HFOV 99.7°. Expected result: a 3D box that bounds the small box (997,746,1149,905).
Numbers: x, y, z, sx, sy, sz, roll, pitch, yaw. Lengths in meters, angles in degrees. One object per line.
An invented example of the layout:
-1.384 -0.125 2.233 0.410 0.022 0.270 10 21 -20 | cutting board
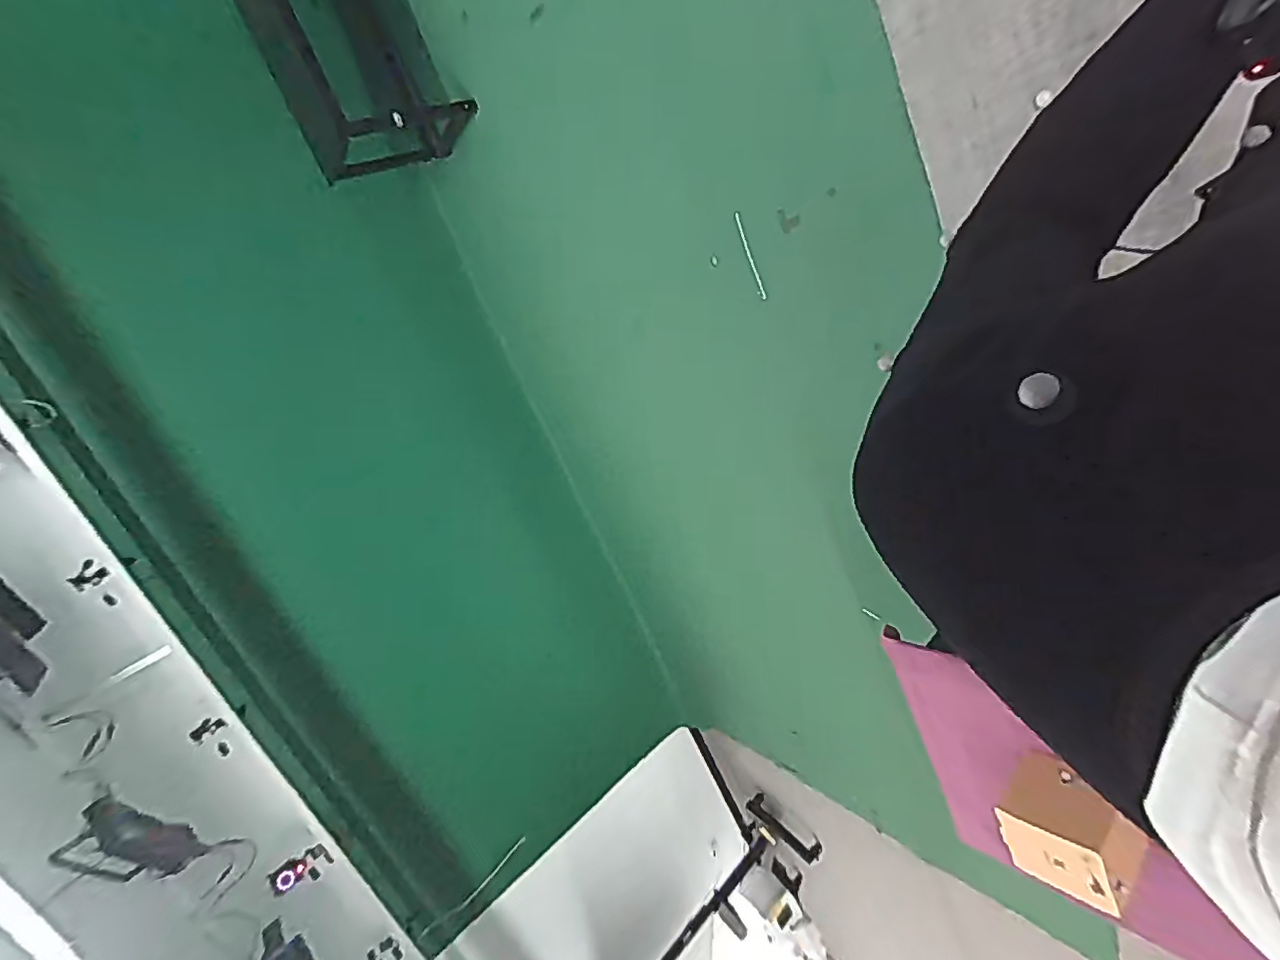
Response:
0.861 0.669 1.077 0.179 0.176 0.168 -2 117 60 | small box
